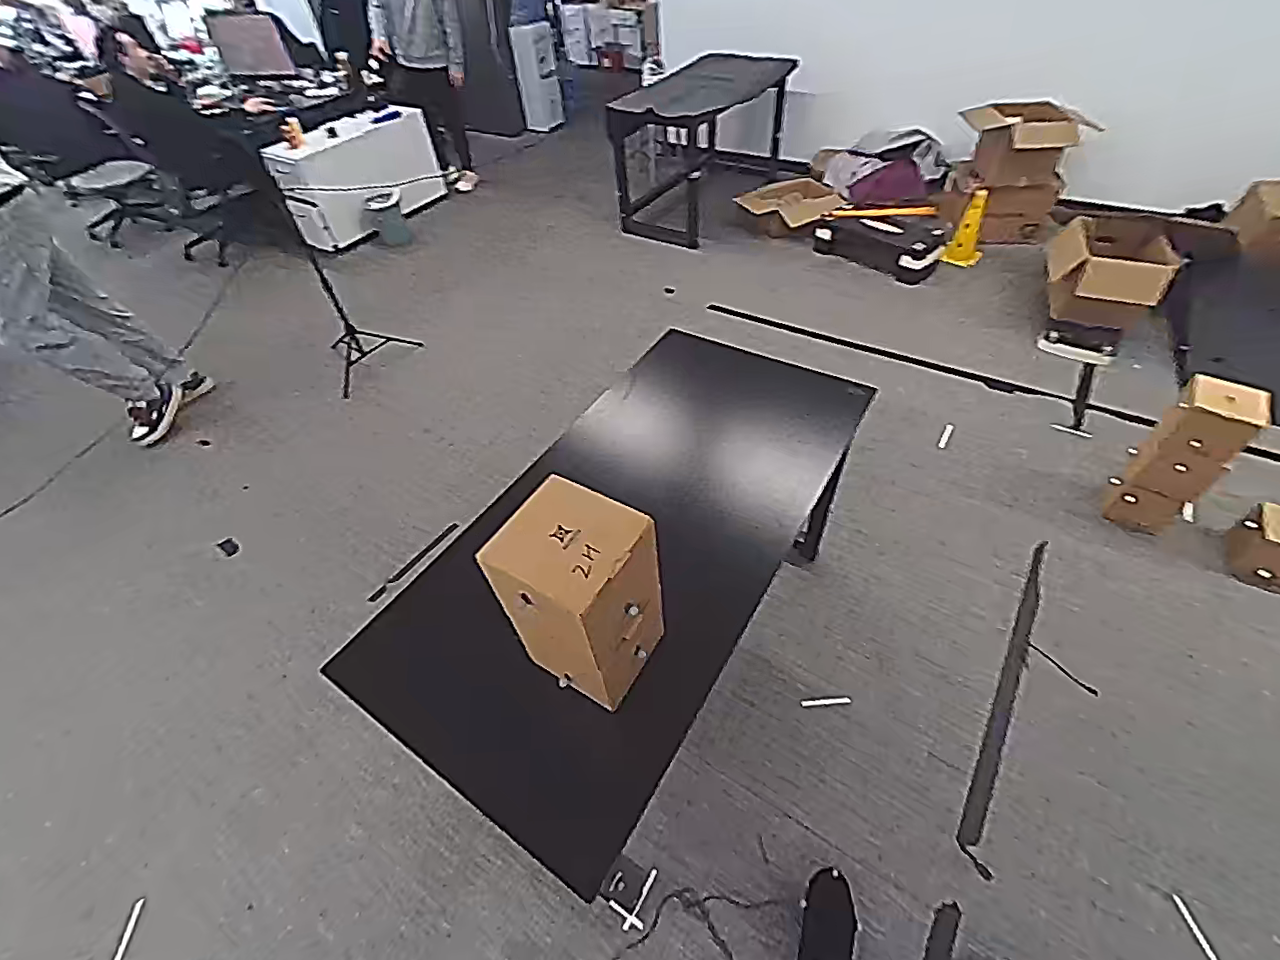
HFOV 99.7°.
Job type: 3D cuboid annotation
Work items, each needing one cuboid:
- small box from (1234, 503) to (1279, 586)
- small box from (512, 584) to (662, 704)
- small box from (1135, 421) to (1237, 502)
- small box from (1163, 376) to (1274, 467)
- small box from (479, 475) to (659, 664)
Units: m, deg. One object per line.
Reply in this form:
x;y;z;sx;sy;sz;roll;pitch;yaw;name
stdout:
2.013;0.211;1.683;0.168;0.176;0.179;22;55;25;small box
-0.075;0.239;0.885;0.179;0.176;0.168;23;54;23;small box
1.731;-0.057;1.724;0.179;0.176;0.168;25;55;24;small box
1.716;-0.173;1.610;0.168;0.176;0.179;27;56;25;small box
-0.088;0.128;0.763;0.179;0.176;0.168;23;55;24;small box
